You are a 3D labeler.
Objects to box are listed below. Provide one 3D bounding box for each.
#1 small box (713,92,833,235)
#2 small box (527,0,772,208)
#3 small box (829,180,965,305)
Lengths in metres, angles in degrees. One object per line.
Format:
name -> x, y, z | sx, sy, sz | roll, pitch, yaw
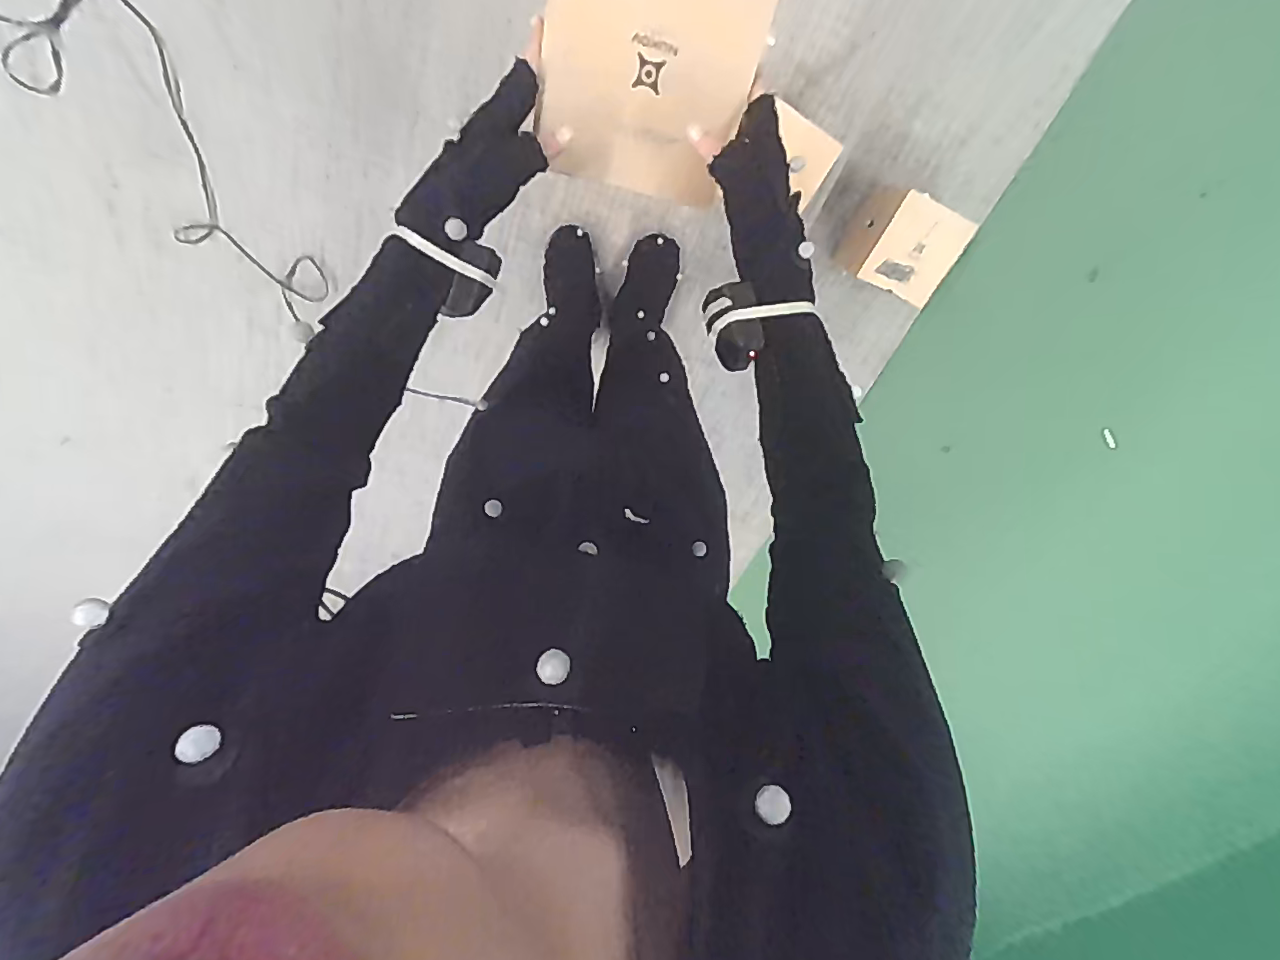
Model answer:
small box -> 0.236, -0.616, 1.055 | 0.168, 0.176, 0.179 | 24, 120, -16
small box -> -0.004, -0.370, 0.473 | 0.168, 0.176, 0.179 | 7, 130, -13
small box -> 0.523, -0.502, 1.137 | 0.168, 0.176, 0.179 | 20, 120, -14
